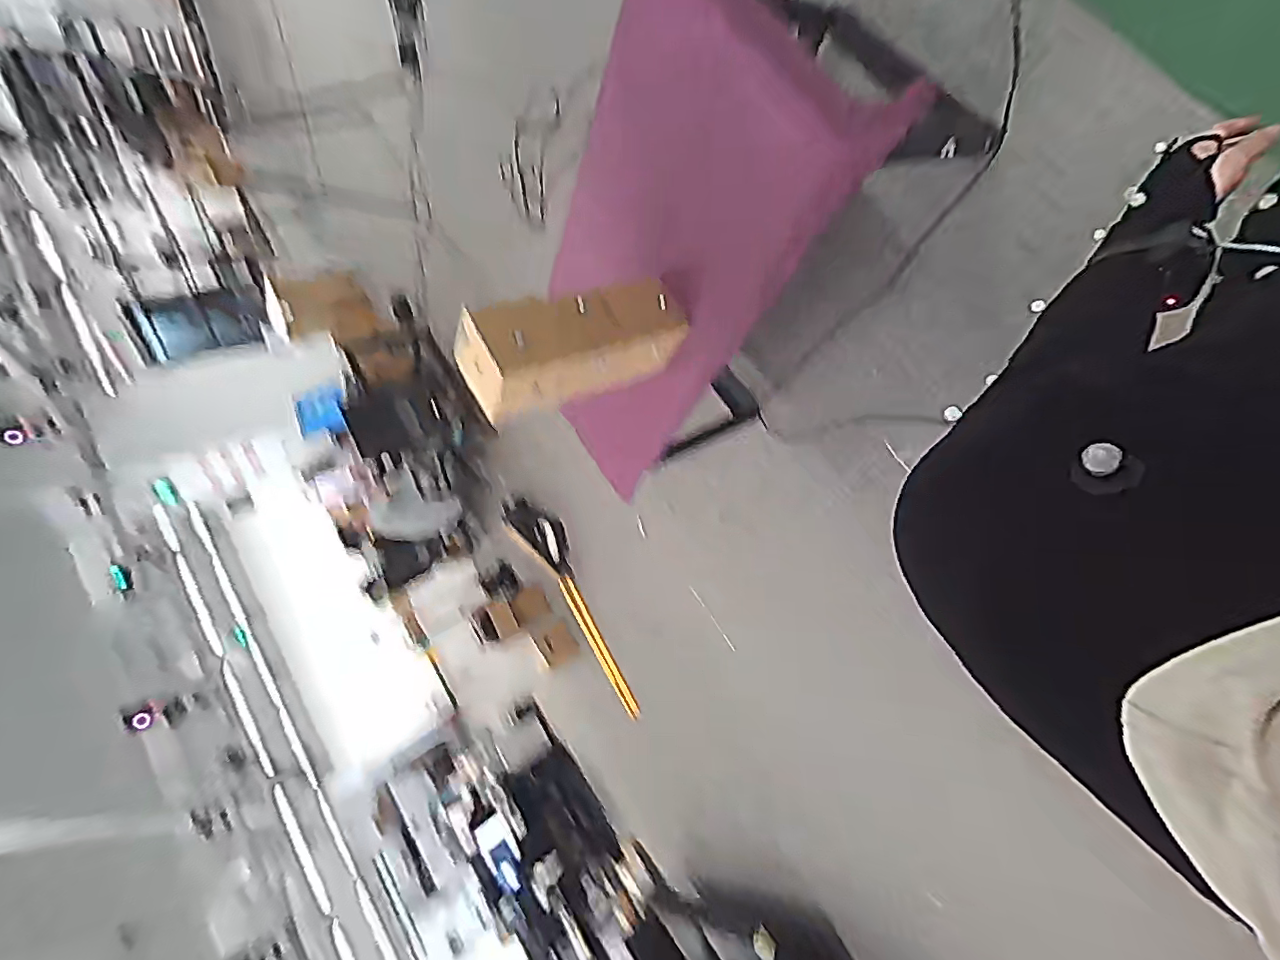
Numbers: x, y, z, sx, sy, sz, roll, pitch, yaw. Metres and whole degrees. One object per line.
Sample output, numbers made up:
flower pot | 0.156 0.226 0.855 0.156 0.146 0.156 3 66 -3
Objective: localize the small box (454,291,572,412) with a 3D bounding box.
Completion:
small box | -0.269 -0.277 1.148 0.179 0.176 0.168 59 145 10

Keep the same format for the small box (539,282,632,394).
small box | -0.142 -0.327 1.236 0.168 0.176 0.179 59 146 10
